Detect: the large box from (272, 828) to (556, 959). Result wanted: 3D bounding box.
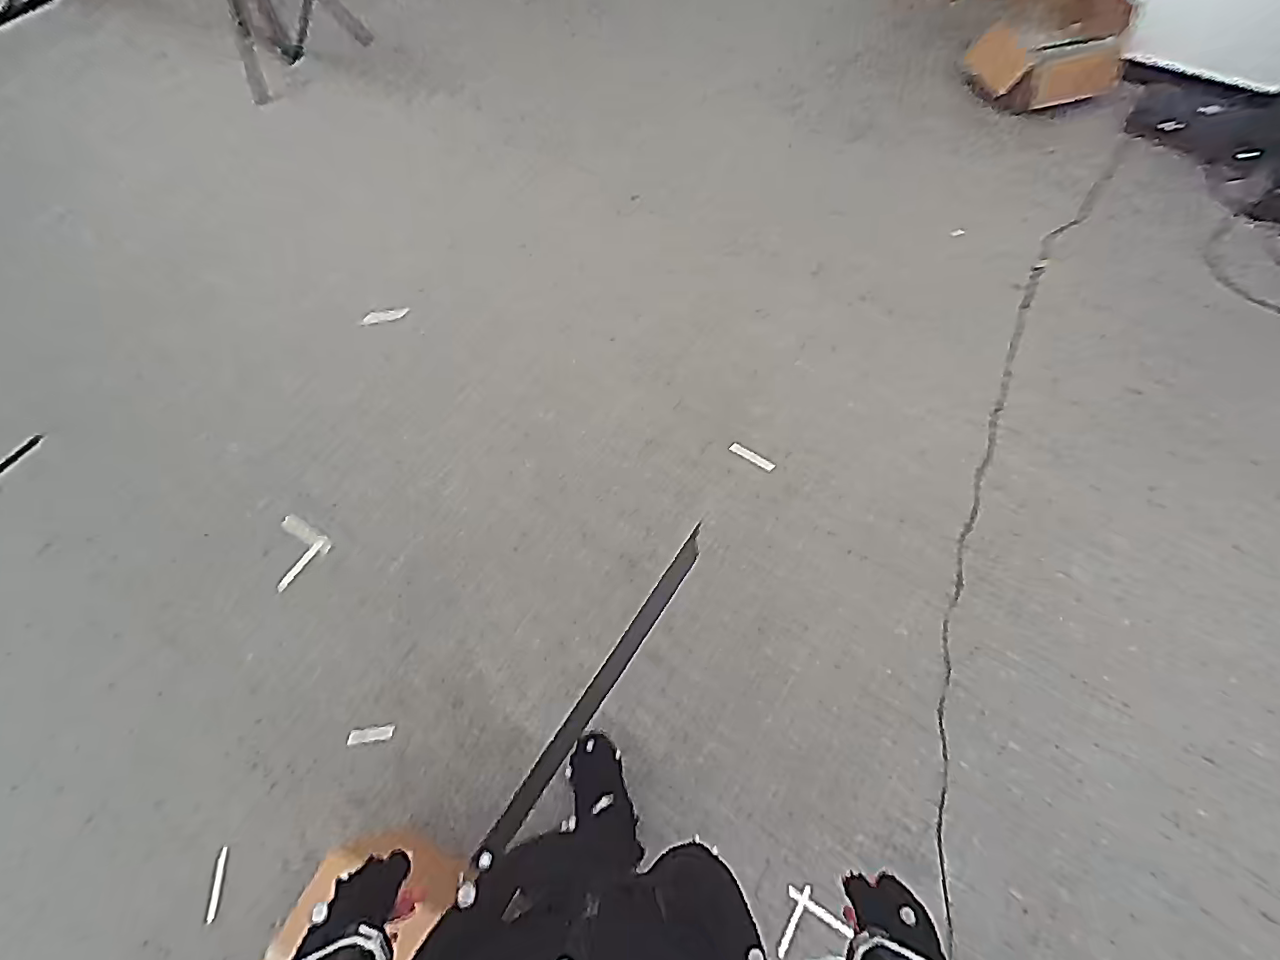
[{"bbox_3d":[-0.414,0.904,0.985,0.408,0.320,0.320,23,66,10],"label":"large box"}]
